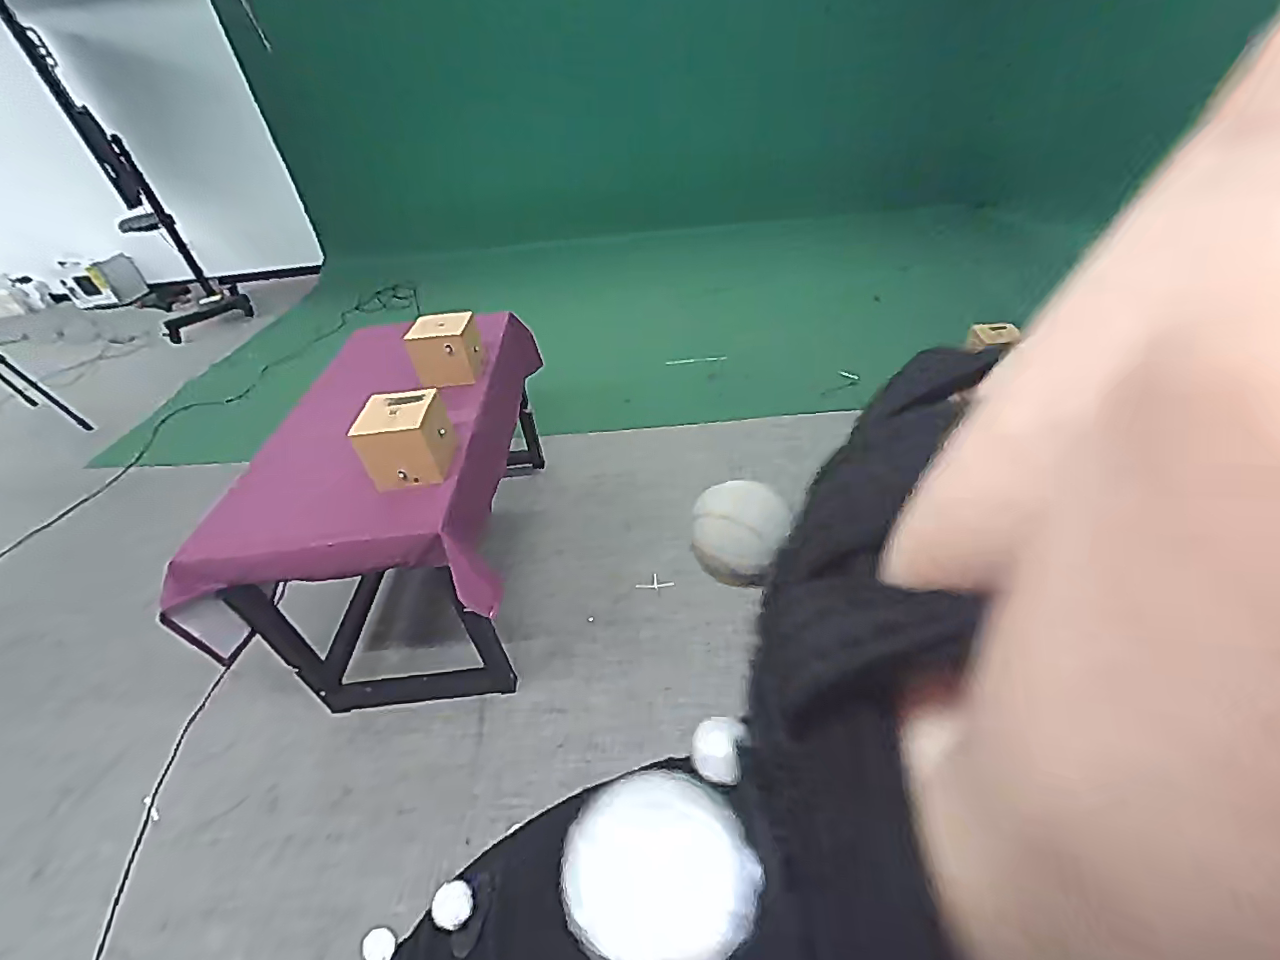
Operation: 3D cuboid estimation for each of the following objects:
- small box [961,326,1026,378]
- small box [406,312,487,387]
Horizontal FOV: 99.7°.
[{"bbox_3d":[1.537,-0.560,2.367,0.168,0.176,0.179,1,41,8],"label":"small box"},{"bbox_3d":[-0.596,-0.407,1.693,0.179,0.176,0.168,-4,39,3],"label":"small box"}]
